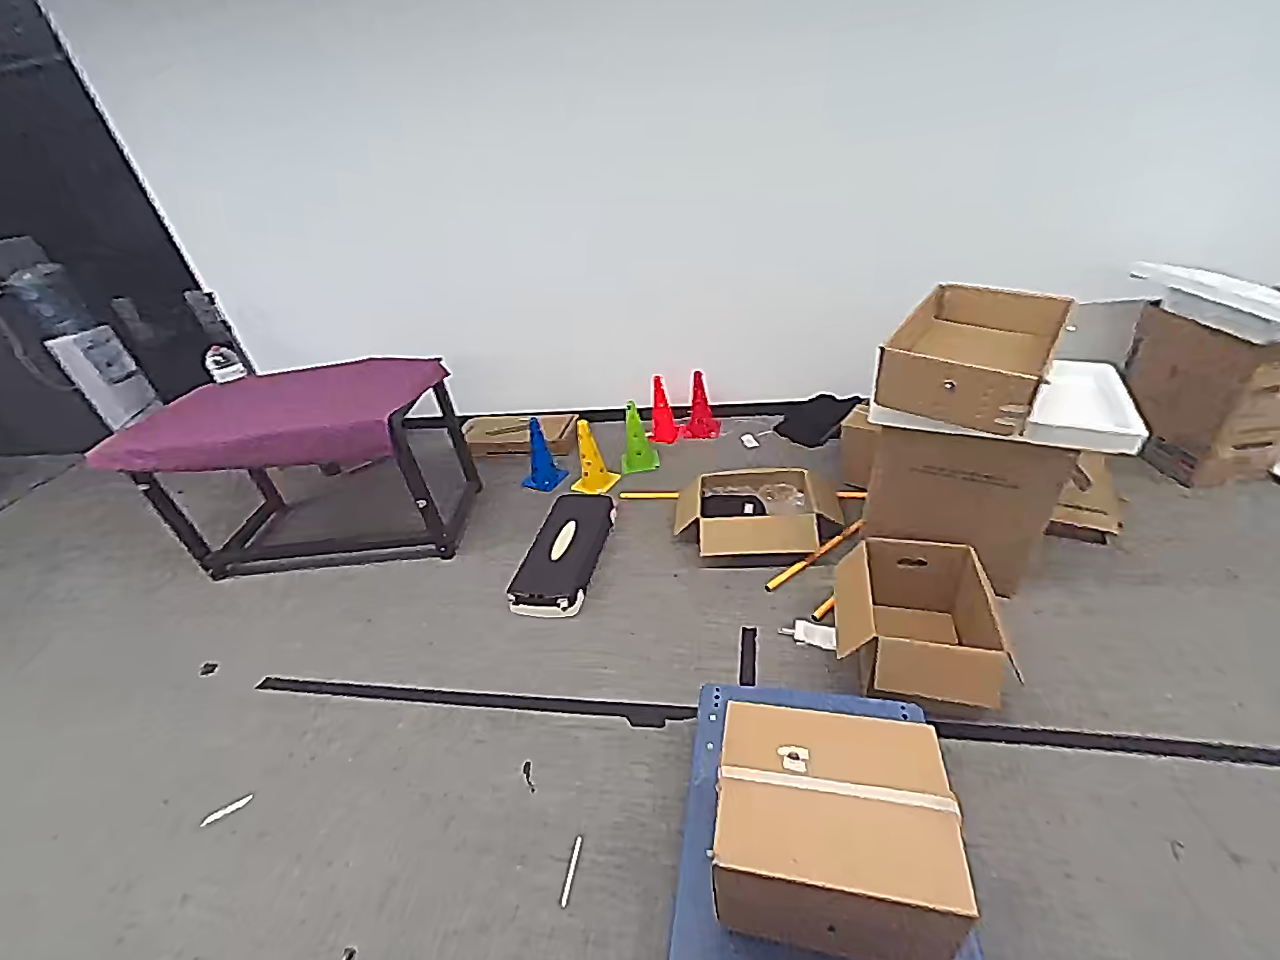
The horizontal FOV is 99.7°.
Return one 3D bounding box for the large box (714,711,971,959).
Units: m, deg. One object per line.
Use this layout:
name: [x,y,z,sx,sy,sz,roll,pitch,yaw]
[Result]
large box: [0.369,0.702,1.076,0.408,0.320,0.320,0,34,14]
